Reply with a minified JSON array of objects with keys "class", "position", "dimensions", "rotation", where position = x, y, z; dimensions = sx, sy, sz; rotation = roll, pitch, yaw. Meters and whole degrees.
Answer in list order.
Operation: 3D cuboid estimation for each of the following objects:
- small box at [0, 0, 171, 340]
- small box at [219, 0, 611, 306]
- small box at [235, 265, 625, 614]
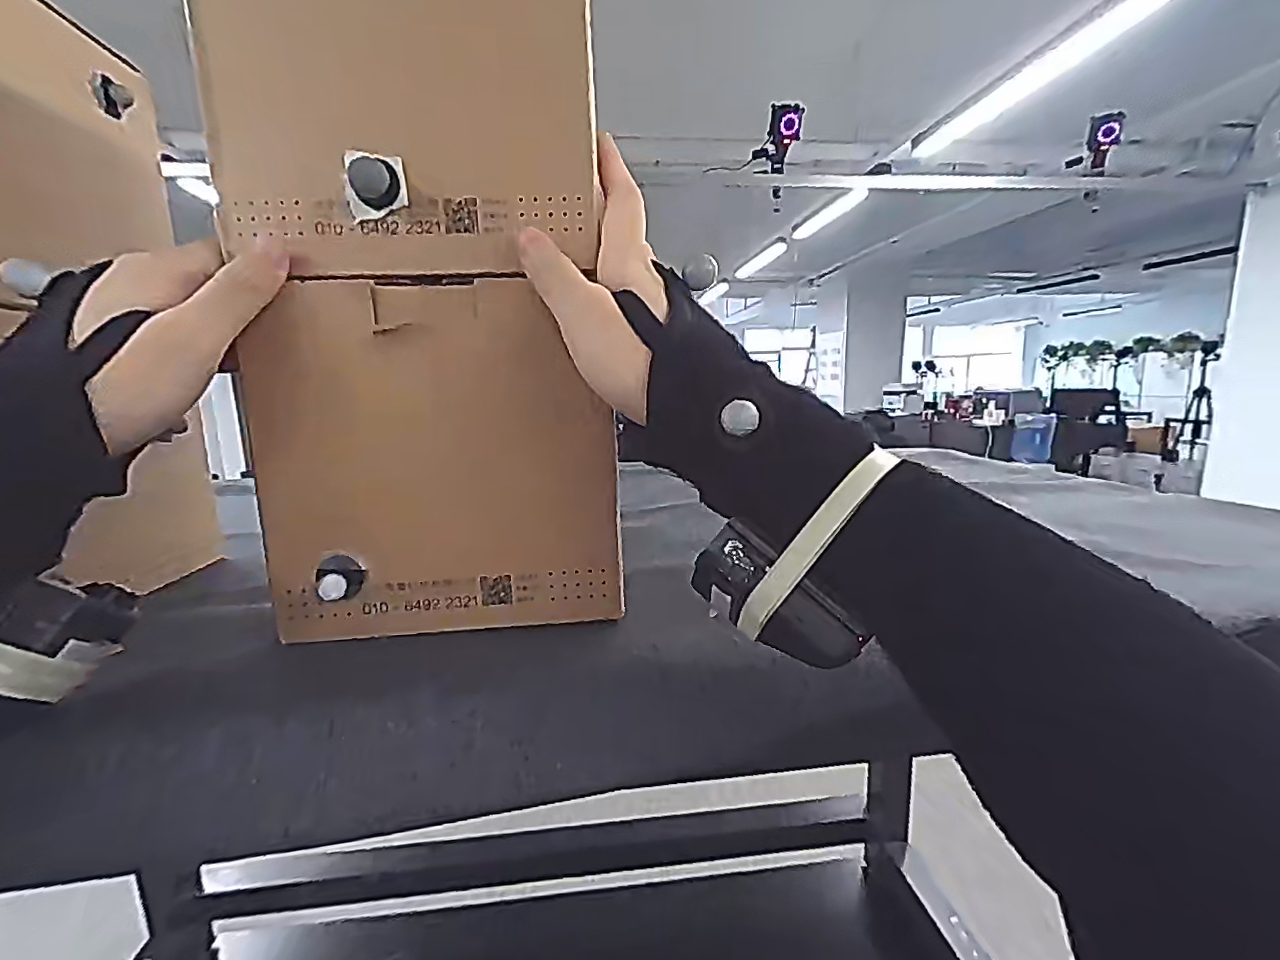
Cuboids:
[{"class":"small box","position":[-0.389,-0.166,0.274],"dimensions":[0.168,0.176,0.179],"rotation":[-3,8,-6]},{"class":"small box","position":[-0.105,-0.183,0.312],"dimensions":[0.168,0.176,0.179],"rotation":[-4,9,-4]},{"class":"small box","position":[-0.099,-0.023,0.334],"dimensions":[0.168,0.176,0.179],"rotation":[-3,8,-6]}]
